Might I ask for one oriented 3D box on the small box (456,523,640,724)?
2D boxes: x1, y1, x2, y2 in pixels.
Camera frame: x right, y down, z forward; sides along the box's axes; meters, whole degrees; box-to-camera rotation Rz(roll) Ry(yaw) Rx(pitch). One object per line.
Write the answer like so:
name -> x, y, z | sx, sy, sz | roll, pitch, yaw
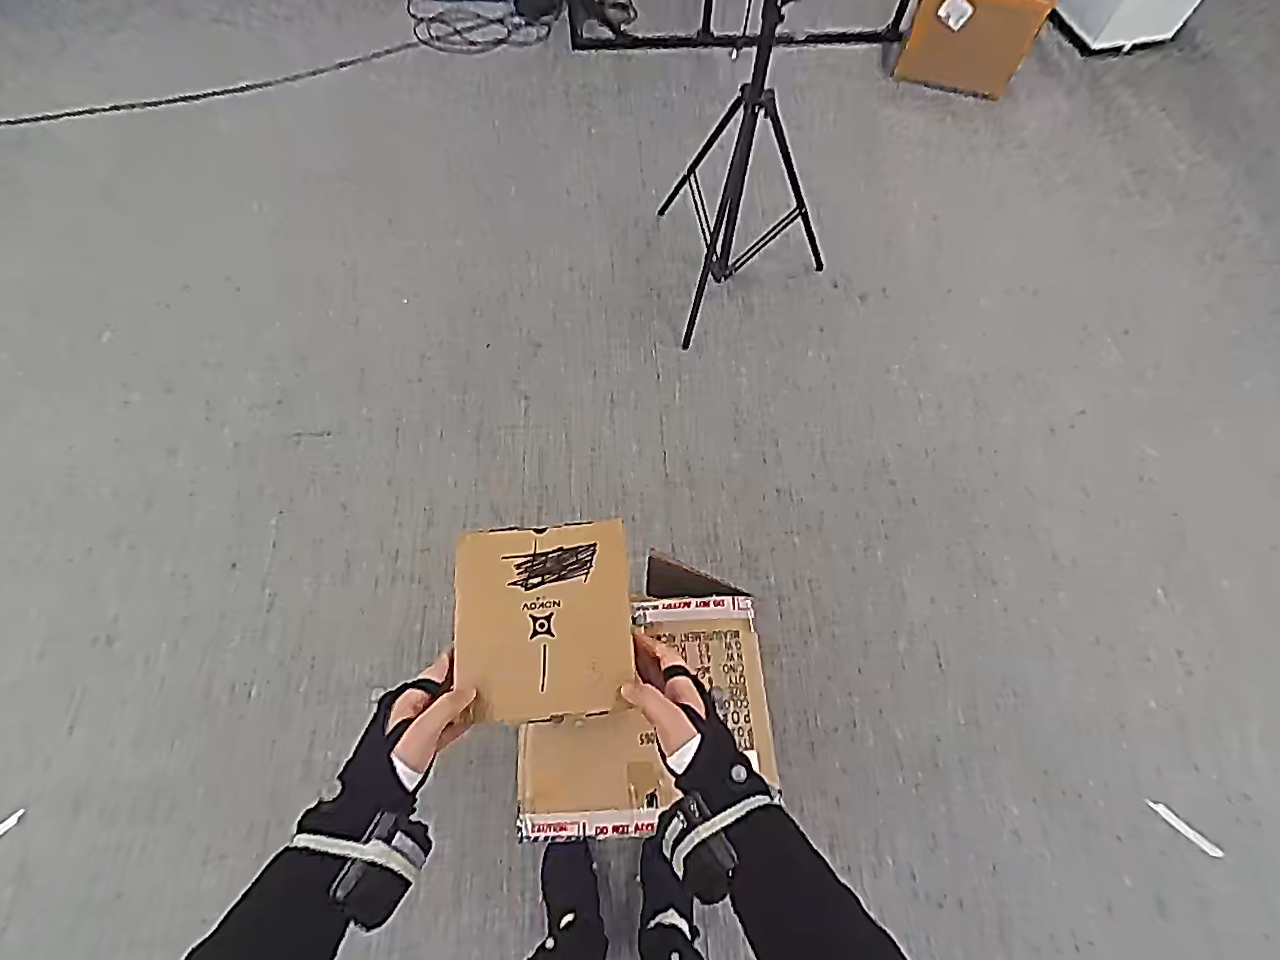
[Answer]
small box -> -0.090, 0.155, 0.584 | 0.168, 0.176, 0.179 | -5, 72, -2
